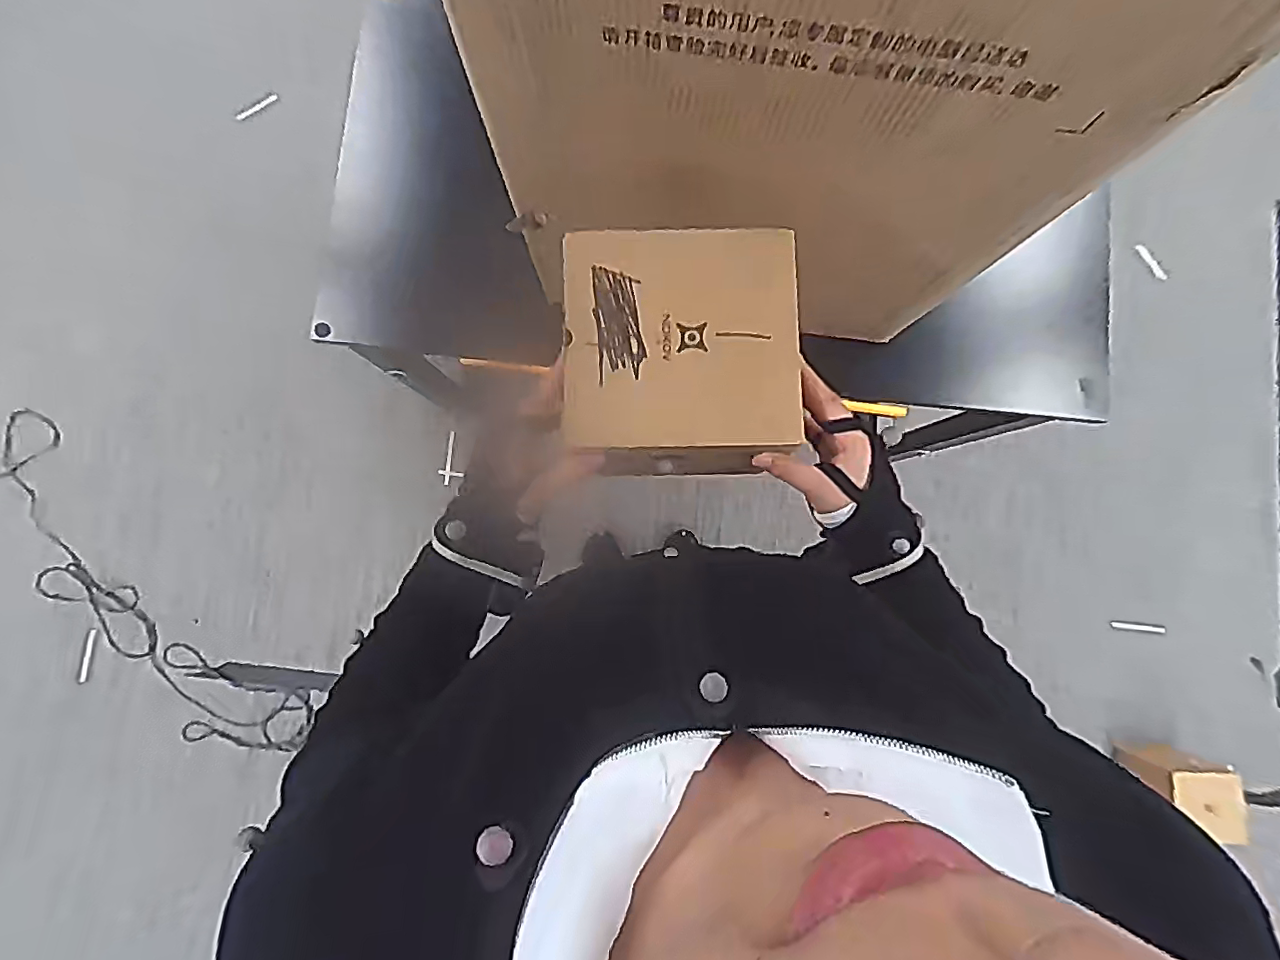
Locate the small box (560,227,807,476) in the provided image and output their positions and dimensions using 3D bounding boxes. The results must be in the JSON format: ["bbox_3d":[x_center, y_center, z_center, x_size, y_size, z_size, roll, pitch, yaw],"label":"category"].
[{"bbox_3d":[0.032,-0.094,0.467,0.179,0.176,0.168,-1,84,1],"label":"small box"}]

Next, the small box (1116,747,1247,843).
[{"bbox_3d":[1.396,0.810,1.404,0.179,0.176,0.168,1,84,0],"label":"small box"}]
